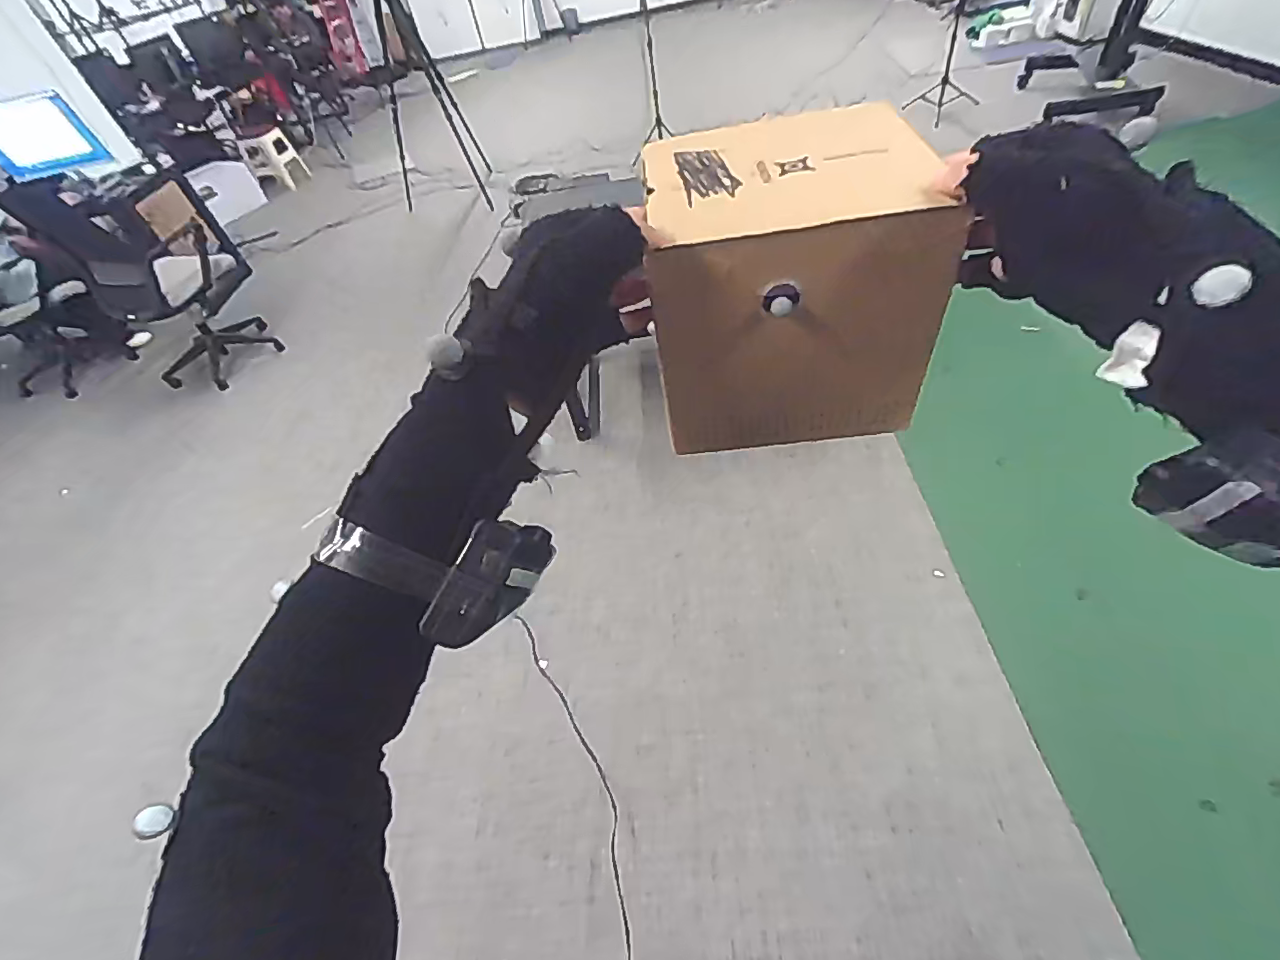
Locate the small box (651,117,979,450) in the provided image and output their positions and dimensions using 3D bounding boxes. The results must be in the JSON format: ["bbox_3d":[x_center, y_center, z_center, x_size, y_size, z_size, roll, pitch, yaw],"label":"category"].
[{"bbox_3d":[0.106,-0.137,0.403,0.179,0.176,0.168,-5,49,6],"label":"small box"}]
